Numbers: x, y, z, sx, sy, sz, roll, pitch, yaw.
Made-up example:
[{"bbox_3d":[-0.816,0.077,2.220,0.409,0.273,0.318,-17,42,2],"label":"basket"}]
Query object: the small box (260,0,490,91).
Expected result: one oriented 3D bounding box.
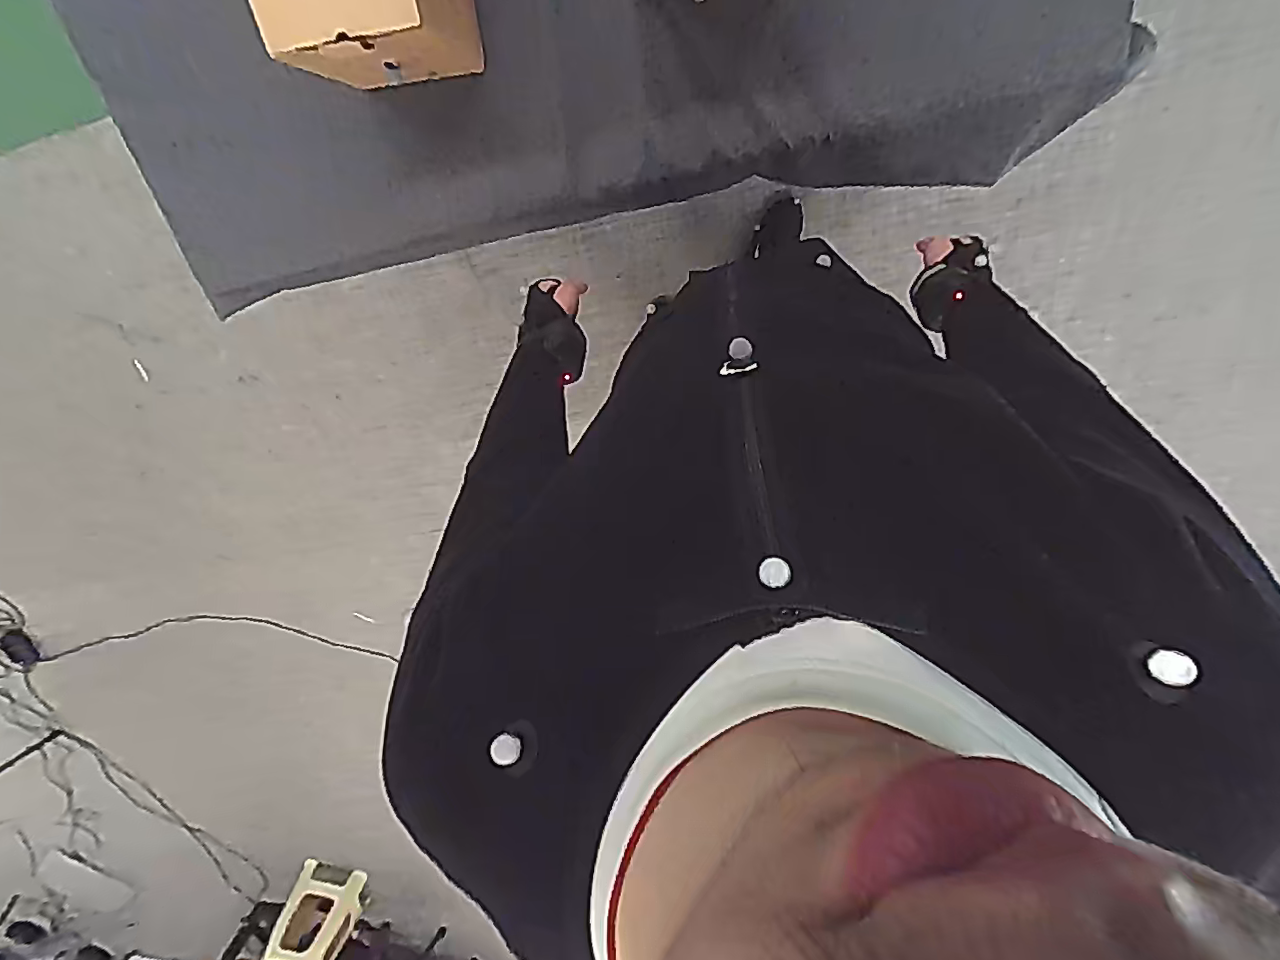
[{"bbox_3d":[-0.277,-0.529,0.561,0.168,0.176,0.179,-4,115,11],"label":"small box"}]
